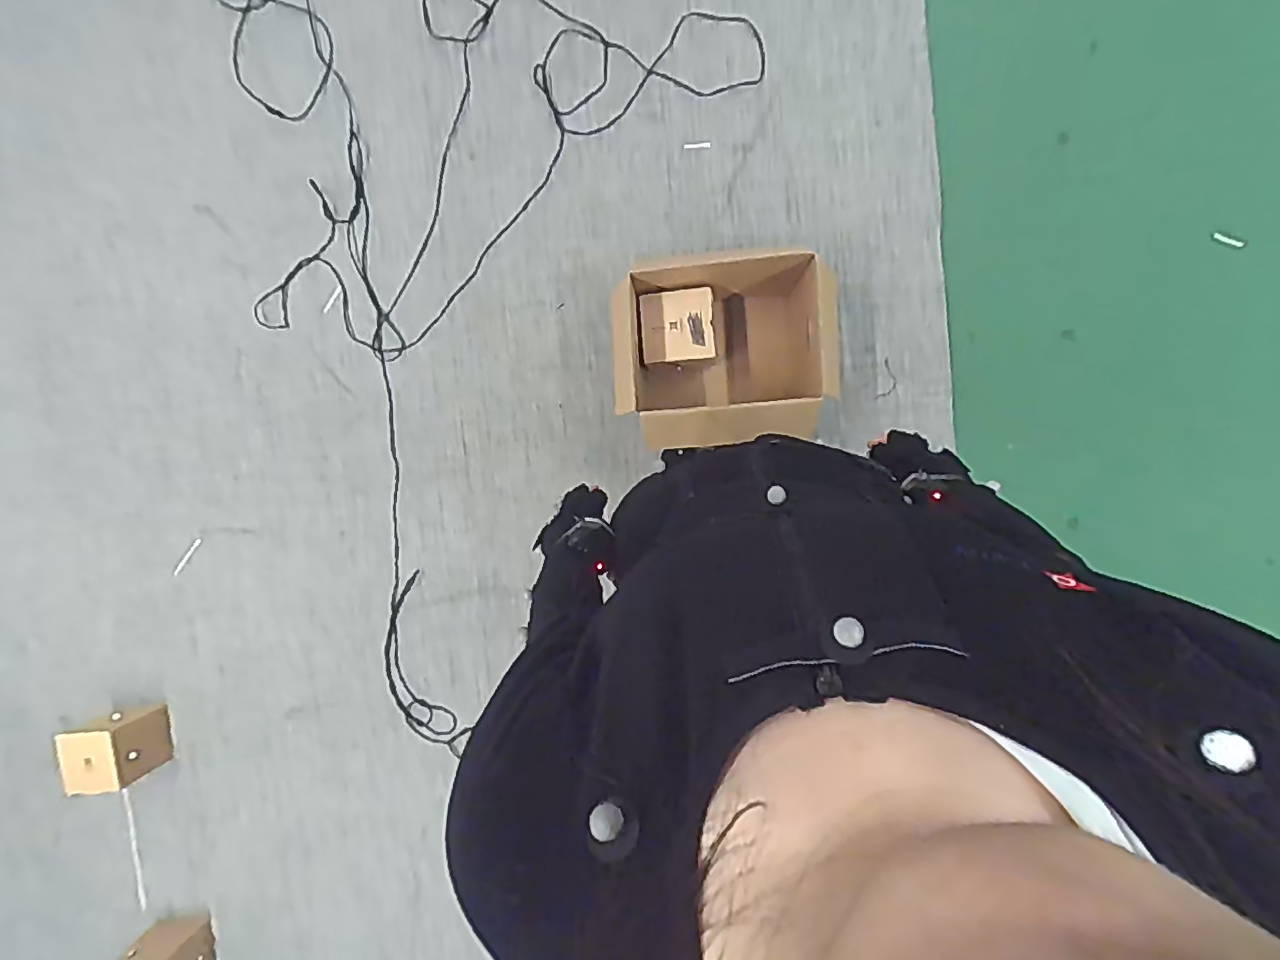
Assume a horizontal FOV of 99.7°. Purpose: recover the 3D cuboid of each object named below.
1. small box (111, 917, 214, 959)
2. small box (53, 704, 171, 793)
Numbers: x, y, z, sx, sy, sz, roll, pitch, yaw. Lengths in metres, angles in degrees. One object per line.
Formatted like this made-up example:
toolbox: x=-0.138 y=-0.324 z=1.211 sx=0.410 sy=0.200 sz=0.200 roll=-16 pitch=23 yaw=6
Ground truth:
small box: x=-1.419 y=1.441 z=1.599 sx=0.179 sy=0.176 sz=0.168 roll=-6 pitch=94 yaw=4
small box: x=-1.511 y=0.763 z=1.558 sx=0.168 sy=0.176 sz=0.179 roll=-6 pitch=94 yaw=4
